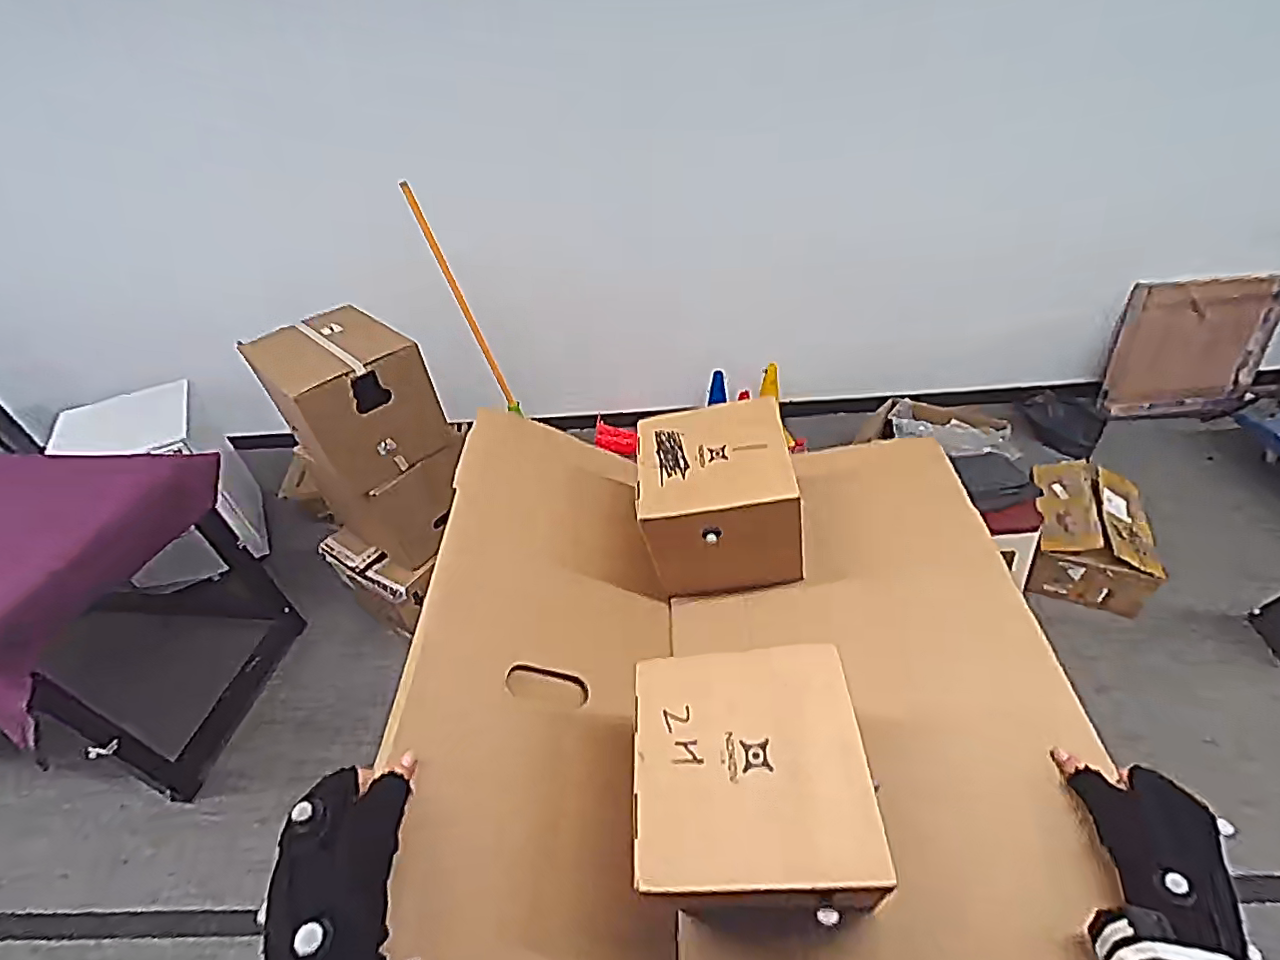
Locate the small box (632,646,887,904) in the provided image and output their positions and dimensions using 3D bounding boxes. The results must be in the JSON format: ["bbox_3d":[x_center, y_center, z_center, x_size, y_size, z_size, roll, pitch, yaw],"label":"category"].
[{"bbox_3d":[0.099,0.265,0.480,0.179,0.176,0.168,-9,47,11],"label":"small box"}]

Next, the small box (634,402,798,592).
[{"bbox_3d":[0.098,0.029,0.693,0.179,0.176,0.168,-9,47,10],"label":"small box"}]
